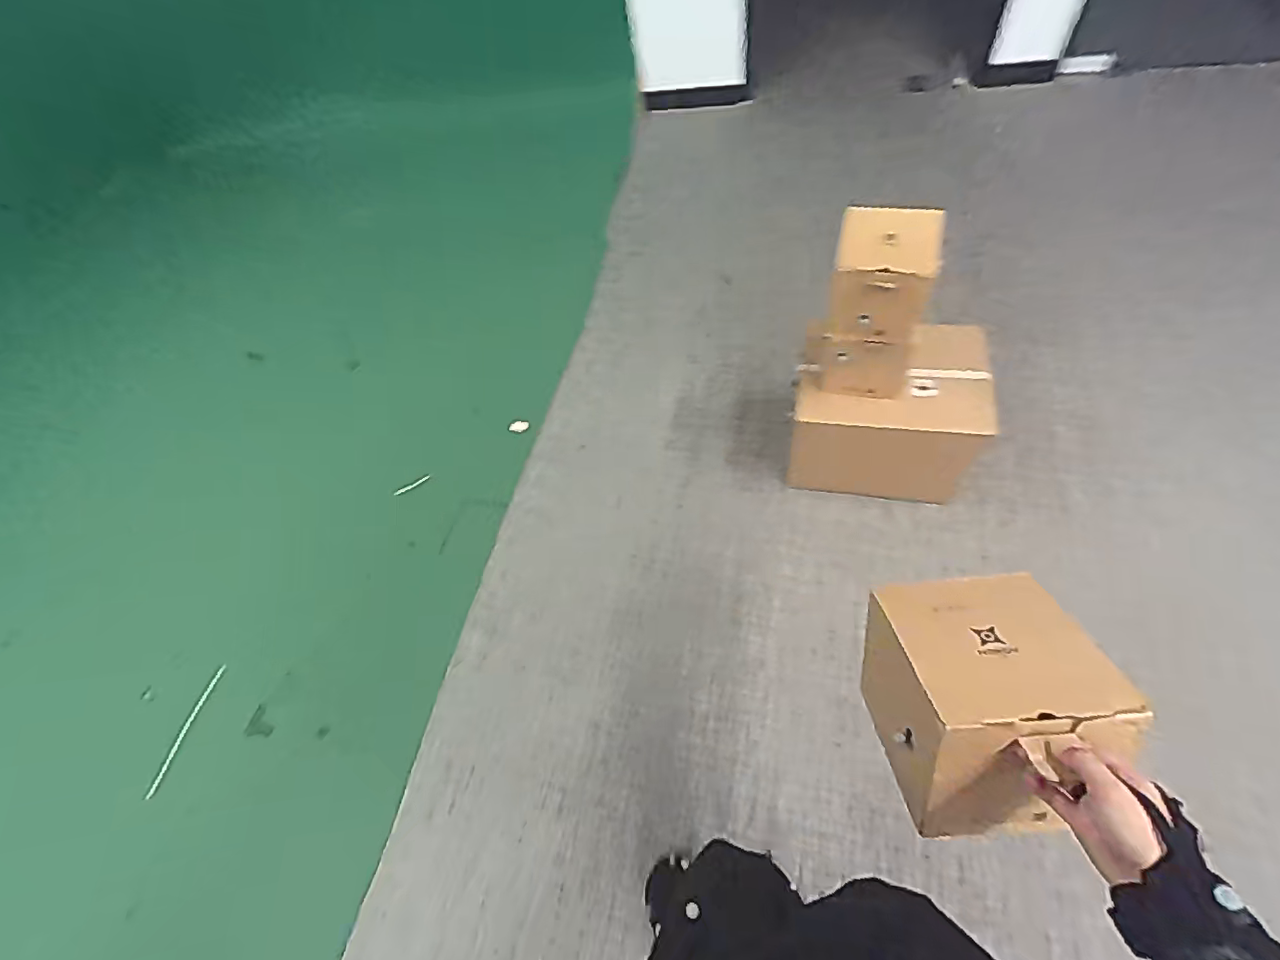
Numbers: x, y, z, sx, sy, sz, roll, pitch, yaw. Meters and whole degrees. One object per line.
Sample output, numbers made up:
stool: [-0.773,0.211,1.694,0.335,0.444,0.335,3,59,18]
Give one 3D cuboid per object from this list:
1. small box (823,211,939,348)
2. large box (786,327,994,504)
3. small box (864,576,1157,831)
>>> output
small box: [0.454,-0.382,1.034,0.168,0.176,0.179,11,63,16]
large box: [0.589,-0.158,1.356,0.408,0.320,0.320,6,62,13]
small box: [0.337,0.220,0.537,0.168,0.176,0.179,-5,28,4]
